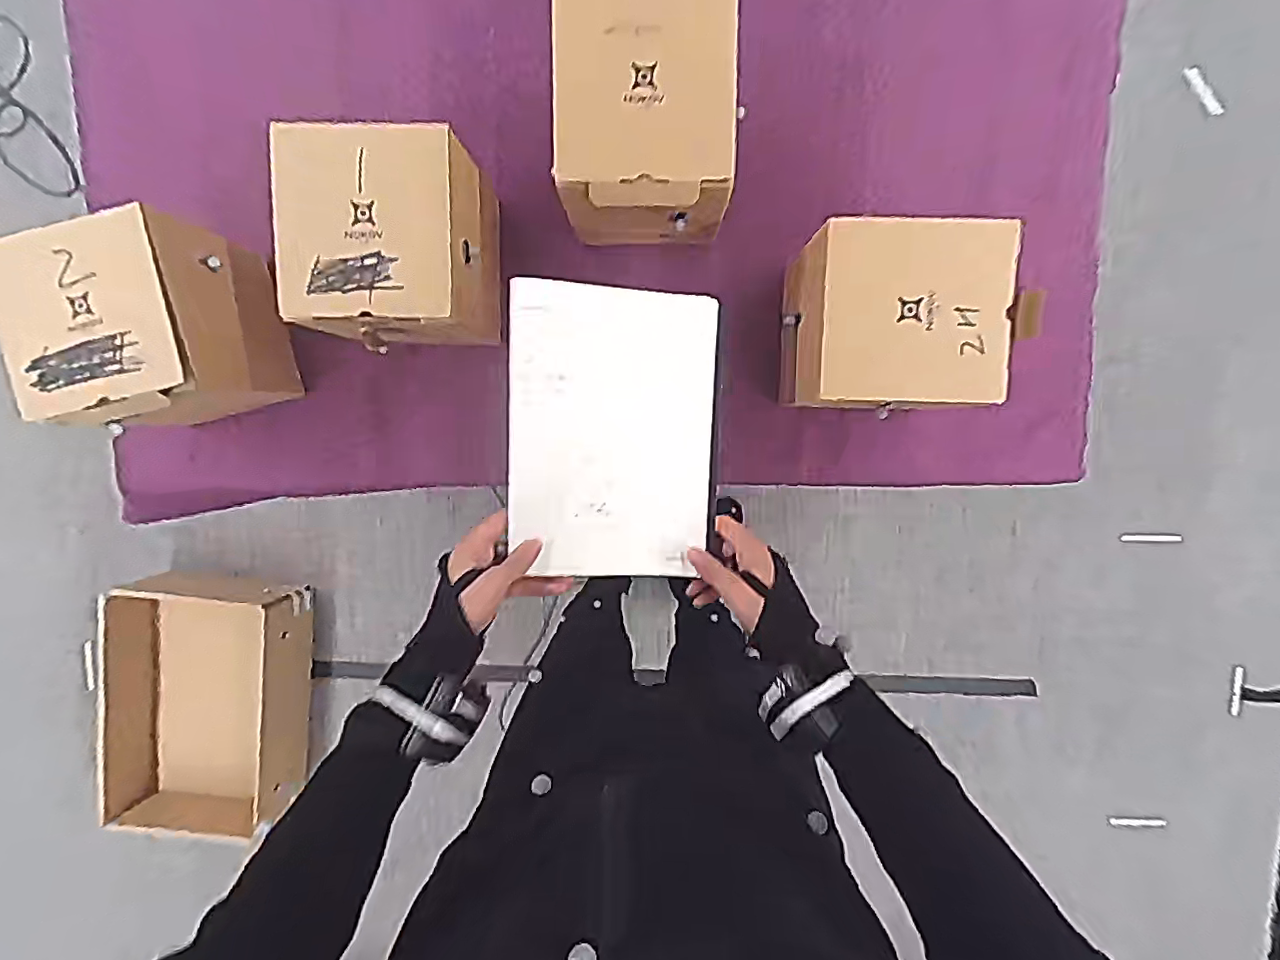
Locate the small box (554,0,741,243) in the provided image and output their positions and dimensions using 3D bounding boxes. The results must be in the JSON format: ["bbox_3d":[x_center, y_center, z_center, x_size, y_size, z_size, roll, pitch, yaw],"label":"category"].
[{"bbox_3d":[0.007,-0.358,0.558,0.168,0.176,0.179,1,95,0],"label":"small box"}]

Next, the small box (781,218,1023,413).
[{"bbox_3d":[0.254,-0.158,0.570,0.179,0.176,0.168,2,96,1],"label":"small box"}]

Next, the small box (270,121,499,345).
[{"bbox_3d":[-0.252,-0.242,0.573,0.168,0.176,0.179,1,95,1],"label":"small box"}]
